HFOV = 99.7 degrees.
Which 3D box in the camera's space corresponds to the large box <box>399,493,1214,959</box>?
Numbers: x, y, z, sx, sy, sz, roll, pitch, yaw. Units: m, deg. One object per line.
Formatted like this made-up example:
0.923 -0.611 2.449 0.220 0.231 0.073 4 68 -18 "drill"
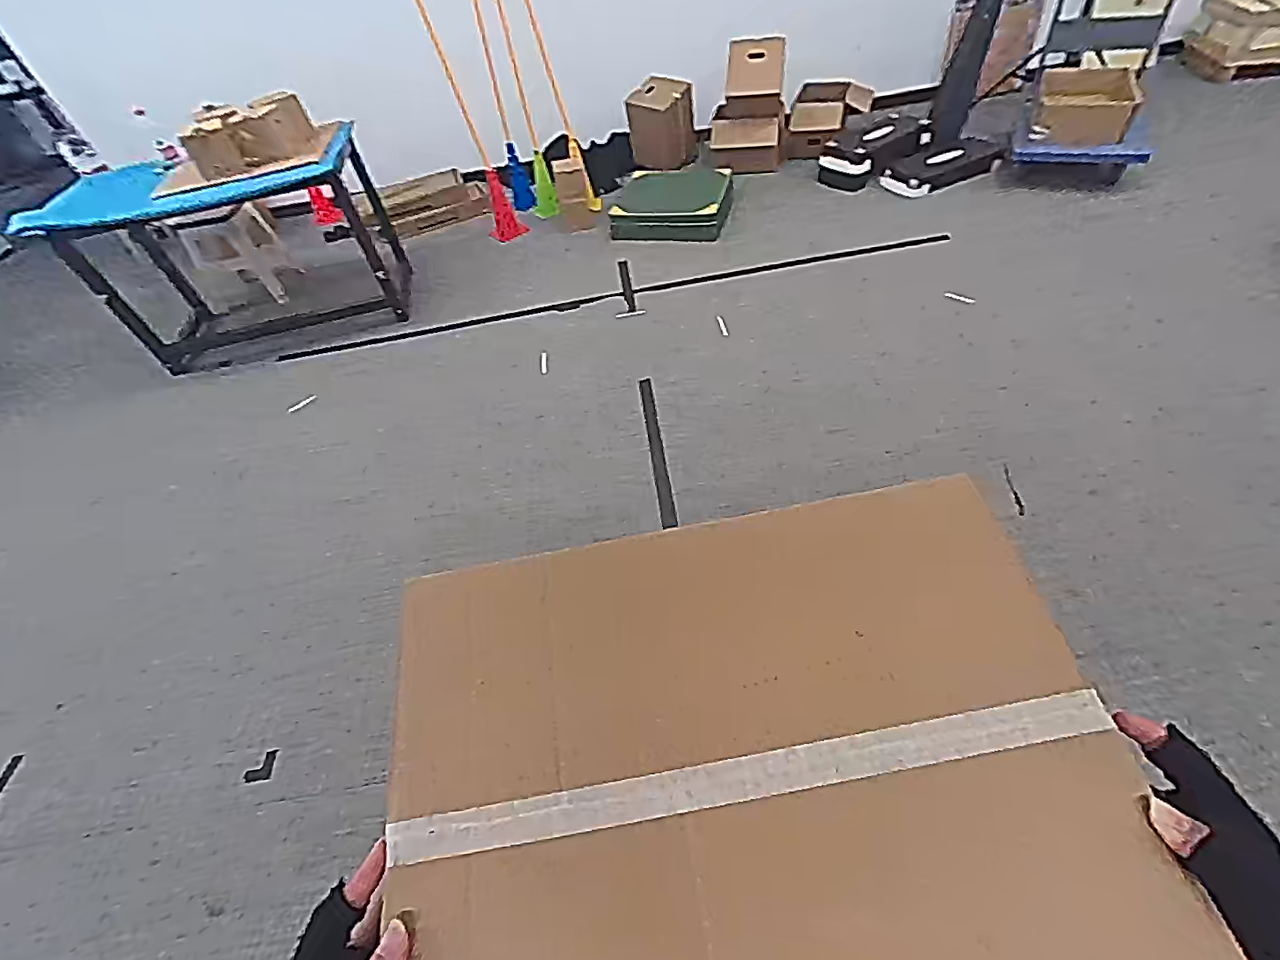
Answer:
0.077 0.248 0.438 0.408 0.320 0.320 -11 59 1 "large box"
